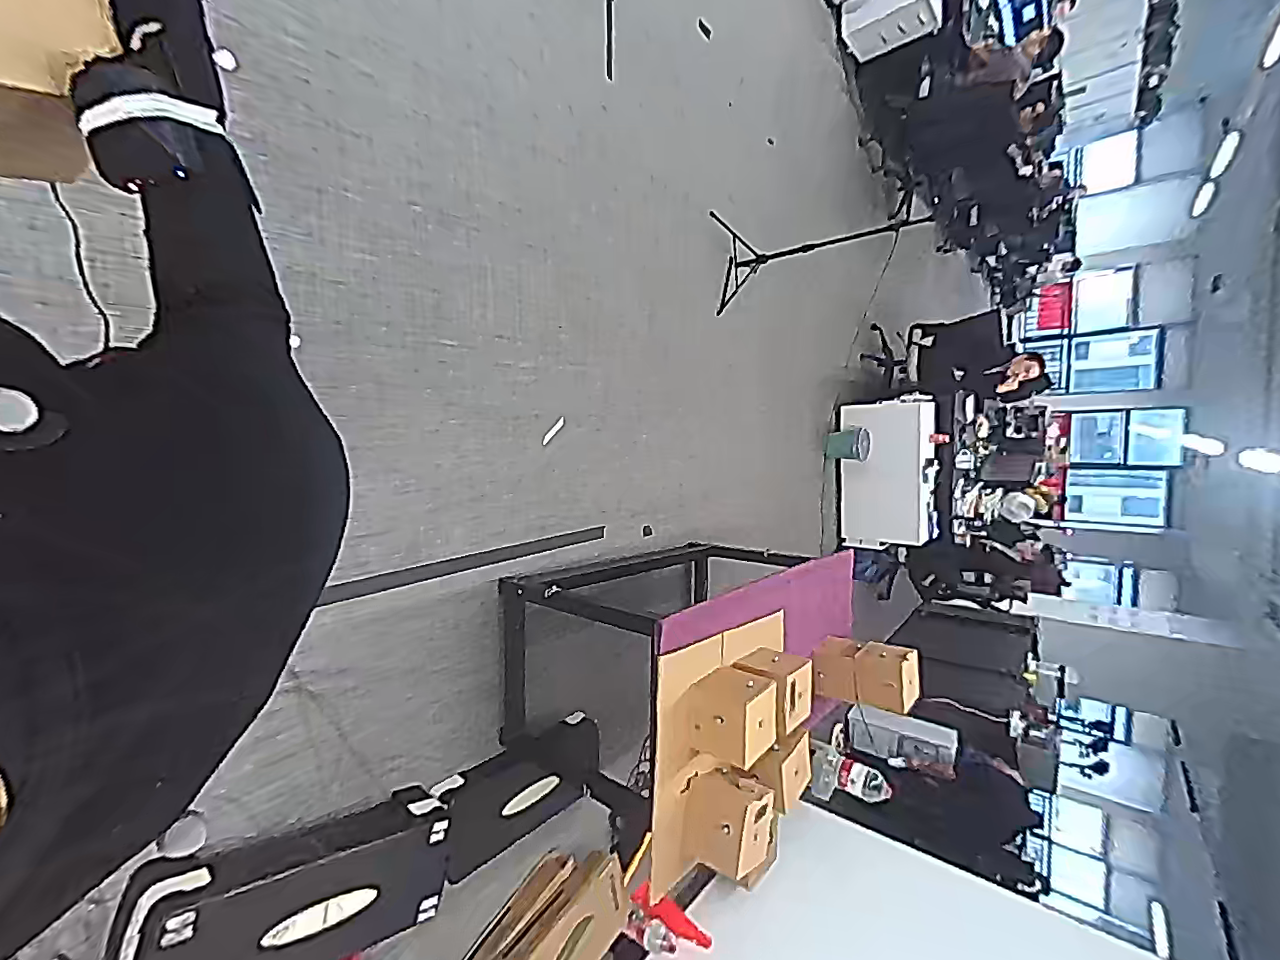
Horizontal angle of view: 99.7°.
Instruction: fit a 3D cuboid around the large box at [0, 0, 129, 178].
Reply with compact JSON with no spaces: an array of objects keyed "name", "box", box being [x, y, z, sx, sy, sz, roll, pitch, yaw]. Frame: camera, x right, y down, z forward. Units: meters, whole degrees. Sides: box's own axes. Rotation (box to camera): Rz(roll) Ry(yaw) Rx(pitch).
[{"name":"large box","box":[-0.610,-0.384,0.285,0.408,0.320,0.320,-22,117,-48]}]
